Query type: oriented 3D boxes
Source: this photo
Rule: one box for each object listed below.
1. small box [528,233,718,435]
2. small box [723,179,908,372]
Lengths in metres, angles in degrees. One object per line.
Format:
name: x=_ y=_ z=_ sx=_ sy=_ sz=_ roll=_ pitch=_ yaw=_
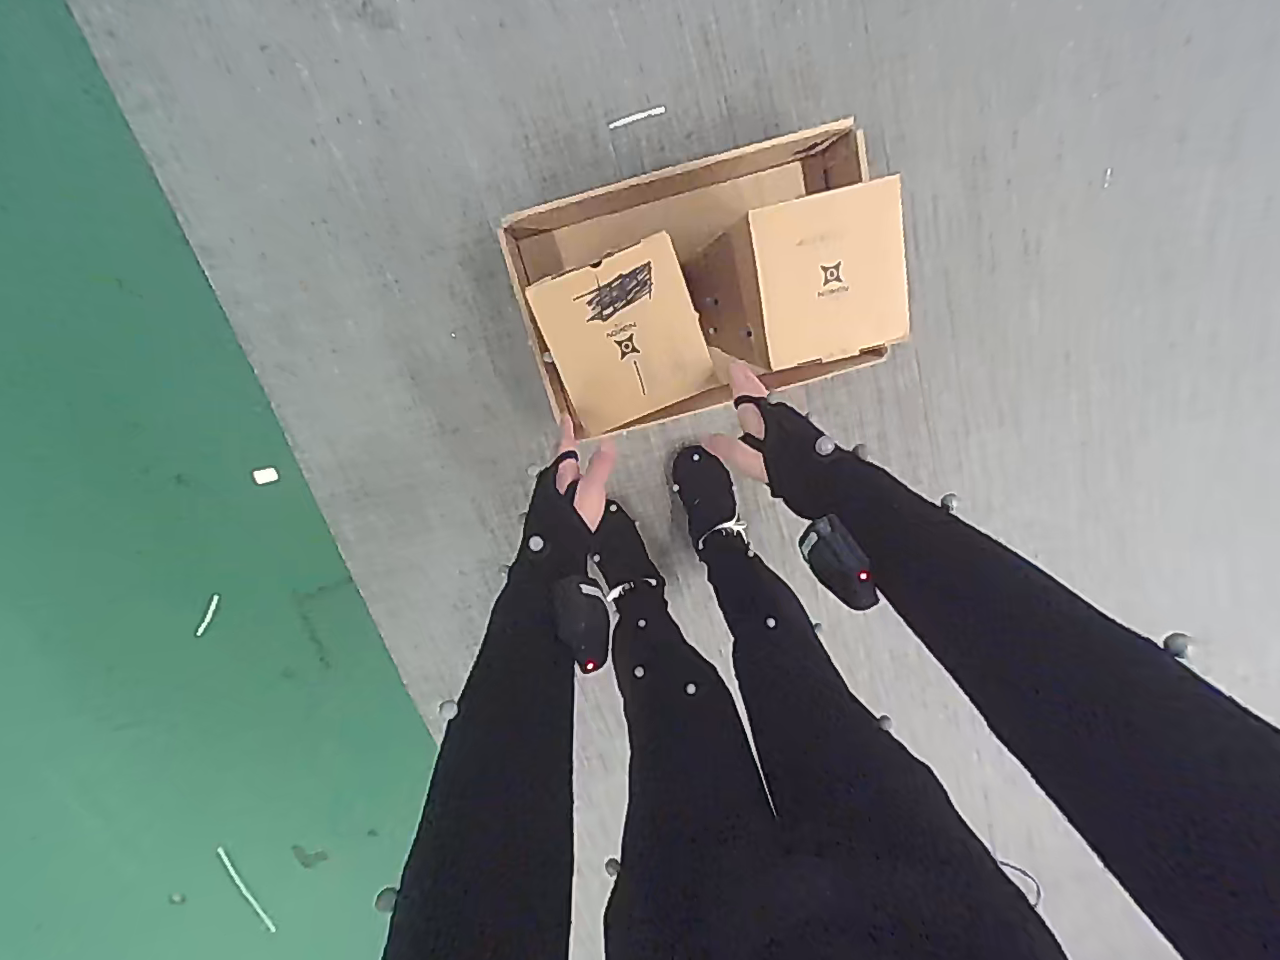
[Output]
small box: x=-0.022 y=-0.175 z=0.671 sx=0.168 sy=0.176 sz=0.179 roll=-22 pitch=105 yaw=2
small box: x=0.208 y=-0.245 z=0.671 sx=0.168 sy=0.176 sz=0.179 roll=-12 pitch=107 yaw=2
